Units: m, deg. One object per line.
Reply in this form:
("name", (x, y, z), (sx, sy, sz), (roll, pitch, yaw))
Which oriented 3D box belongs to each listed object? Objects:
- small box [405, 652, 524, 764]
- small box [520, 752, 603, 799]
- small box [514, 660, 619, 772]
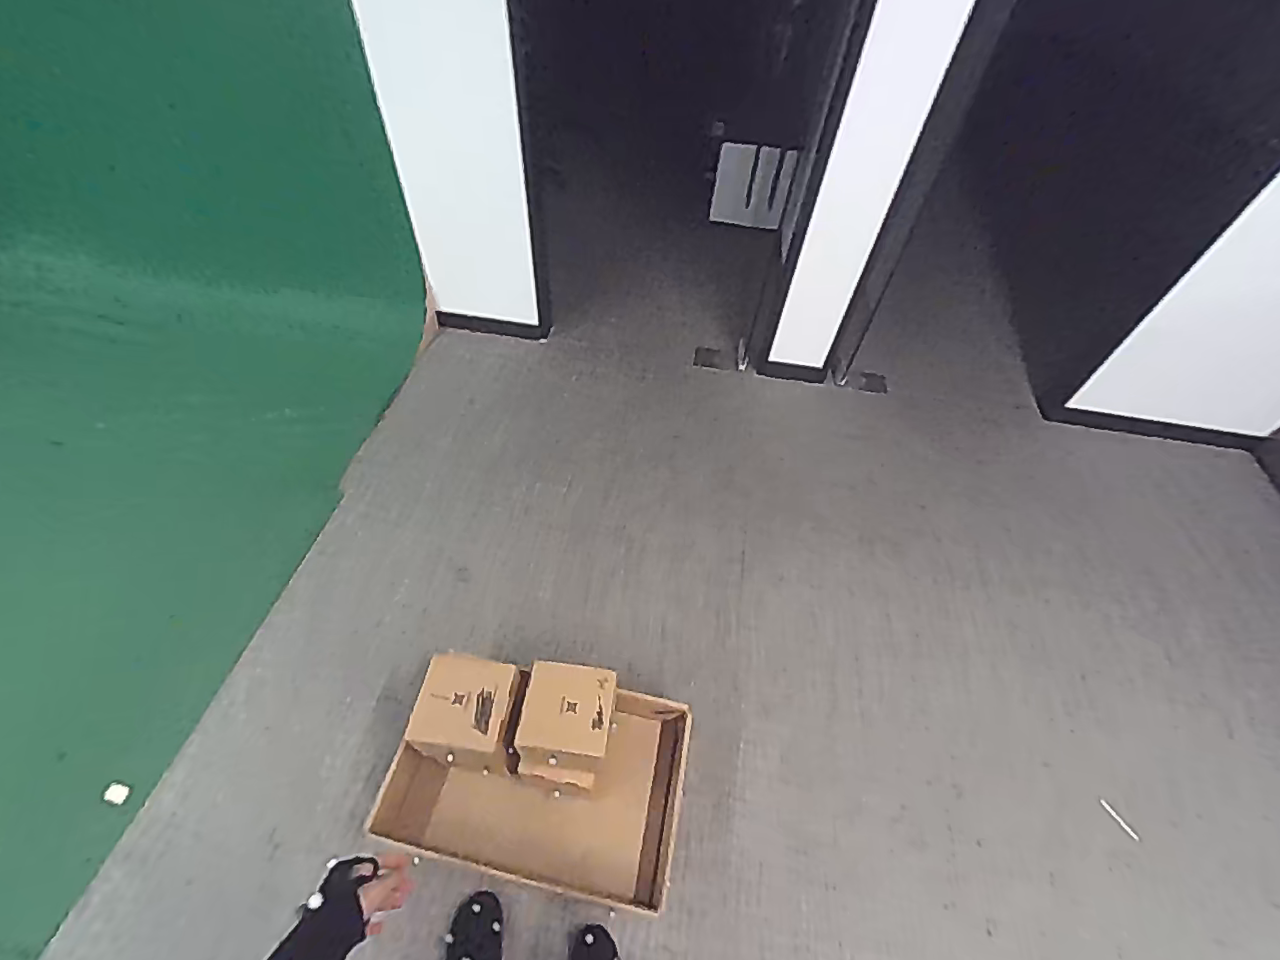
("small box", (-0.349, 0.477, 1.121), (0.179, 0.176, 0.168), (8, 53, 3))
("small box", (-0.161, 0.607, 1.241), (0.168, 0.176, 0.179), (10, 53, 7))
("small box", (-0.143, 0.493, 1.122), (0.179, 0.176, 0.168), (7, 52, 4))
